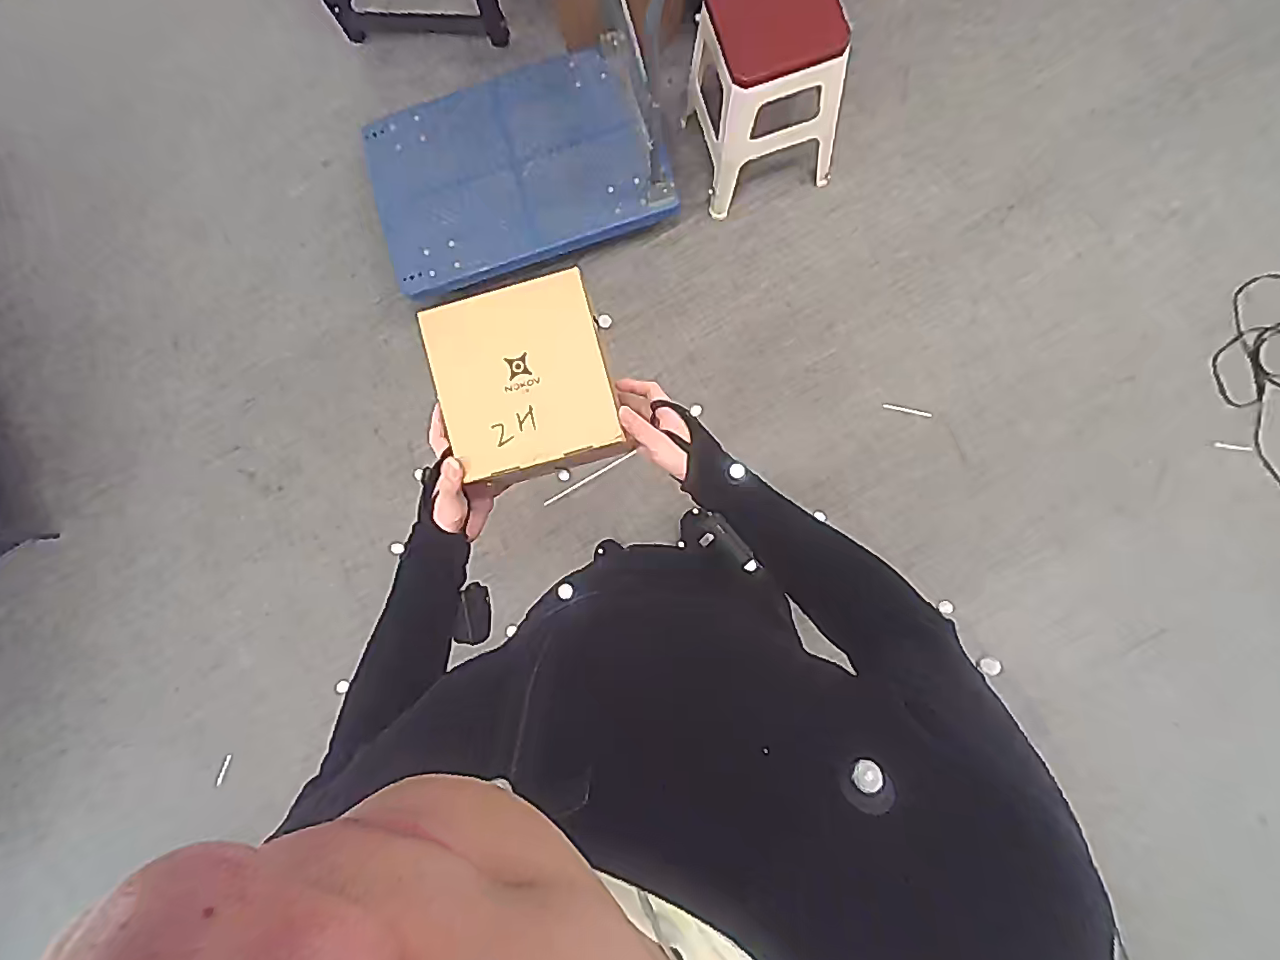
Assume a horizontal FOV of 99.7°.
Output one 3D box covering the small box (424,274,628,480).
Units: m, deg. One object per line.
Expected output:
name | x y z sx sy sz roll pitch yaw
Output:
small box | -0.114 -0.101 0.613 0.168 0.176 0.179 -14 90 2
